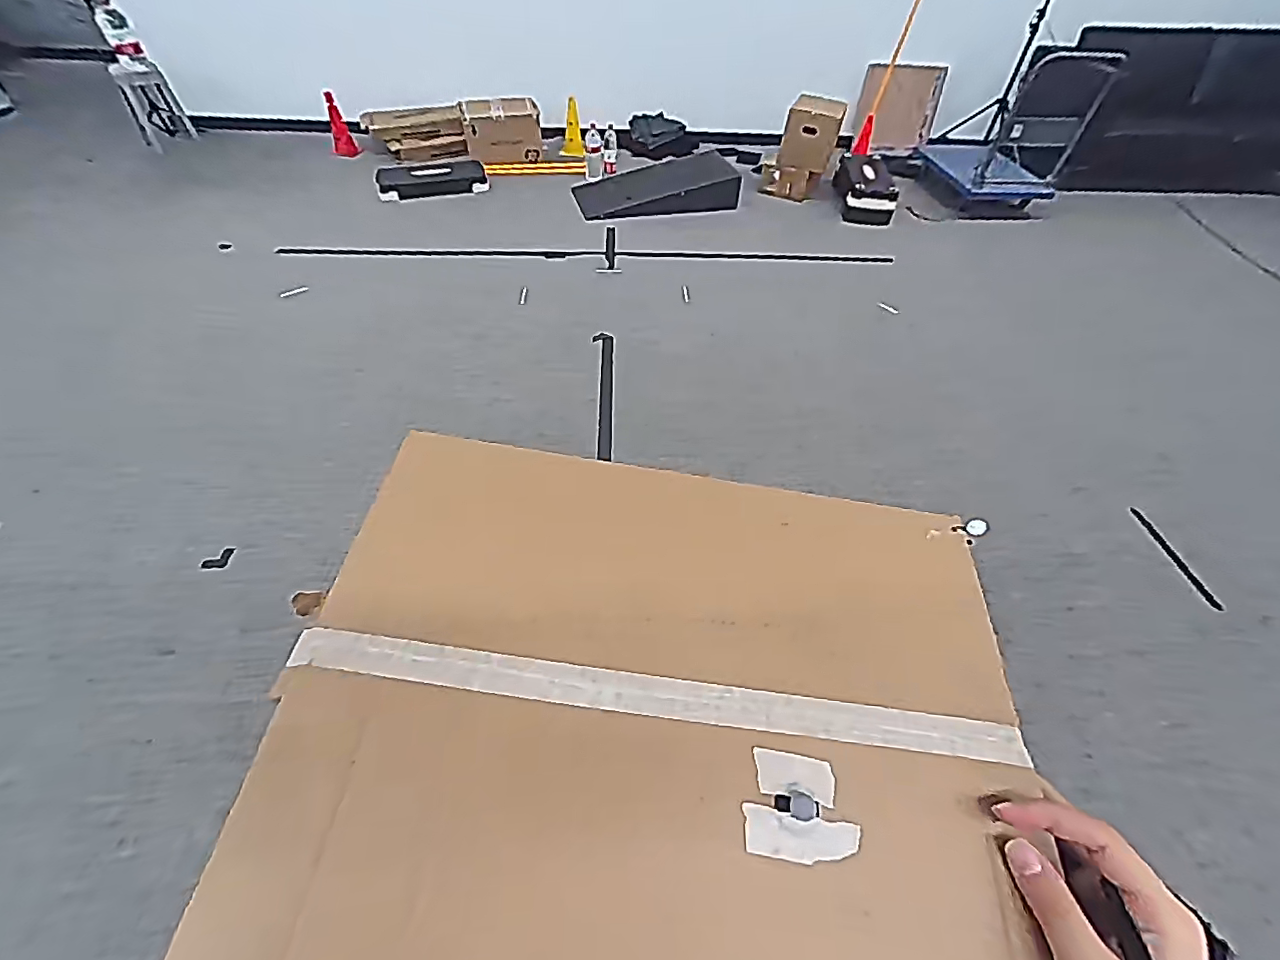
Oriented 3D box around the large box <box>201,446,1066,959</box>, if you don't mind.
[{"bbox_3d":[0.003,0.211,0.434,0.408,0.320,0.320,10,55,-2],"label":"large box"}]
